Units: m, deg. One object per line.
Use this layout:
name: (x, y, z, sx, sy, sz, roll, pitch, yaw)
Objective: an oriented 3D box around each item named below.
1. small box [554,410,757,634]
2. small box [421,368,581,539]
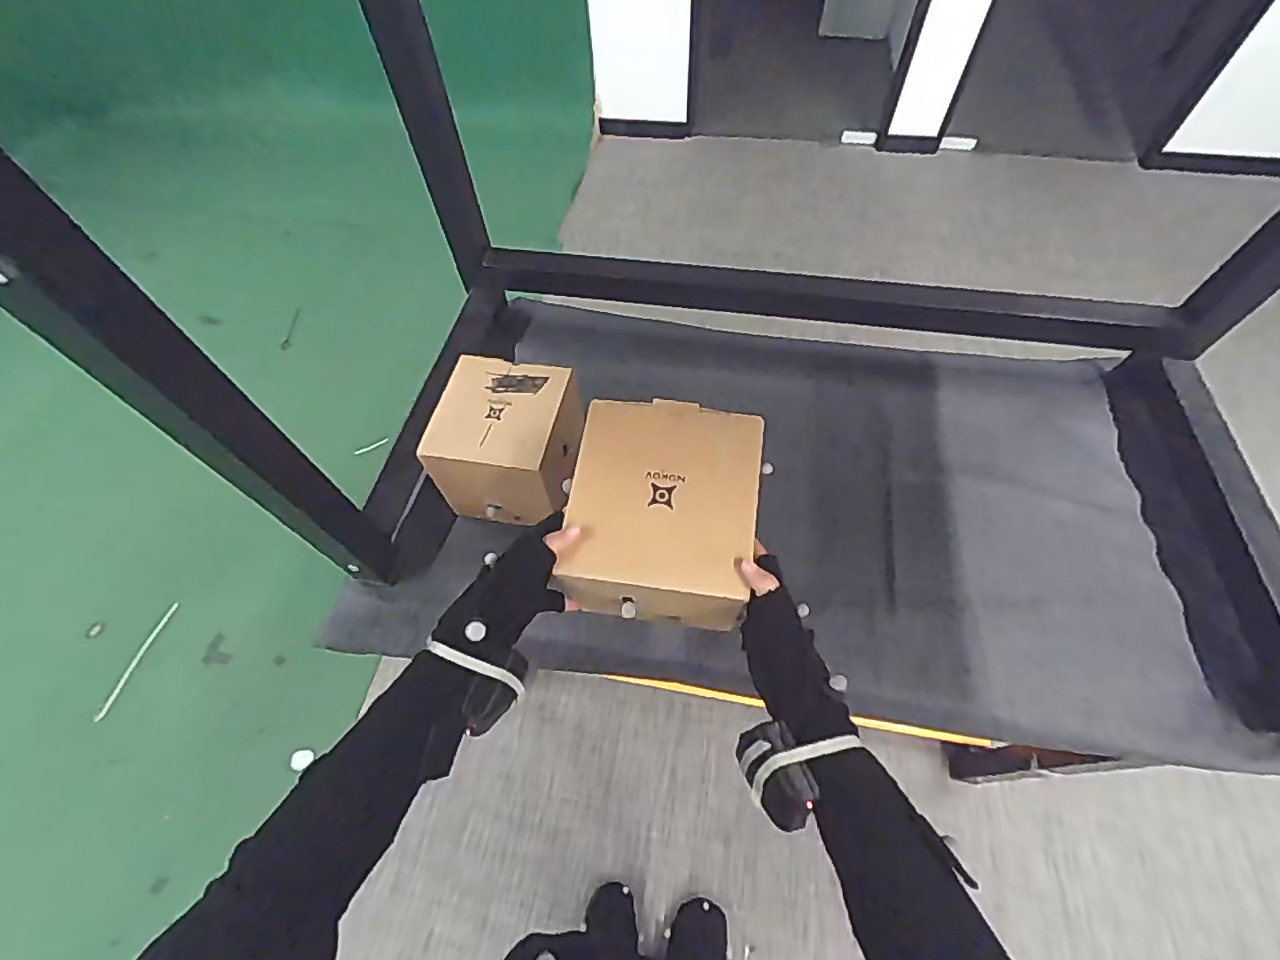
small box: (0.023, 0.051, 0.558, 0.168, 0.176, 0.179, 6, 64, 6)
small box: (-0.187, -0.036, 0.797, 0.168, 0.176, 0.179, 8, 58, 7)
